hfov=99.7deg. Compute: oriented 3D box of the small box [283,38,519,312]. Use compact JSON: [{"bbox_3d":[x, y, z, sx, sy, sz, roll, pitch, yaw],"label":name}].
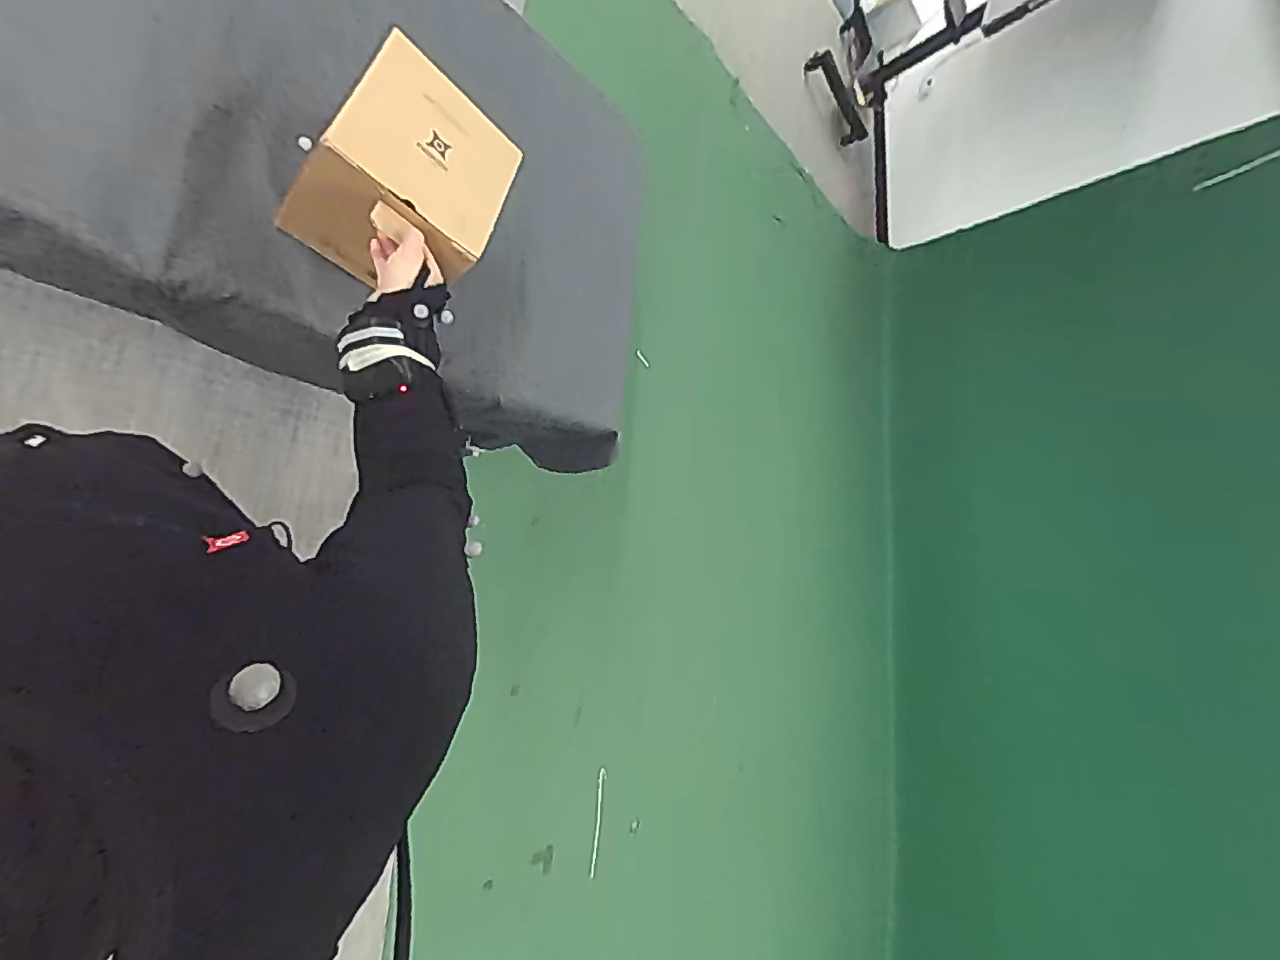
[{"bbox_3d":[-0.271,-0.324,0.613,0.168,0.176,0.179,32,59,-40],"label":"small box"}]
